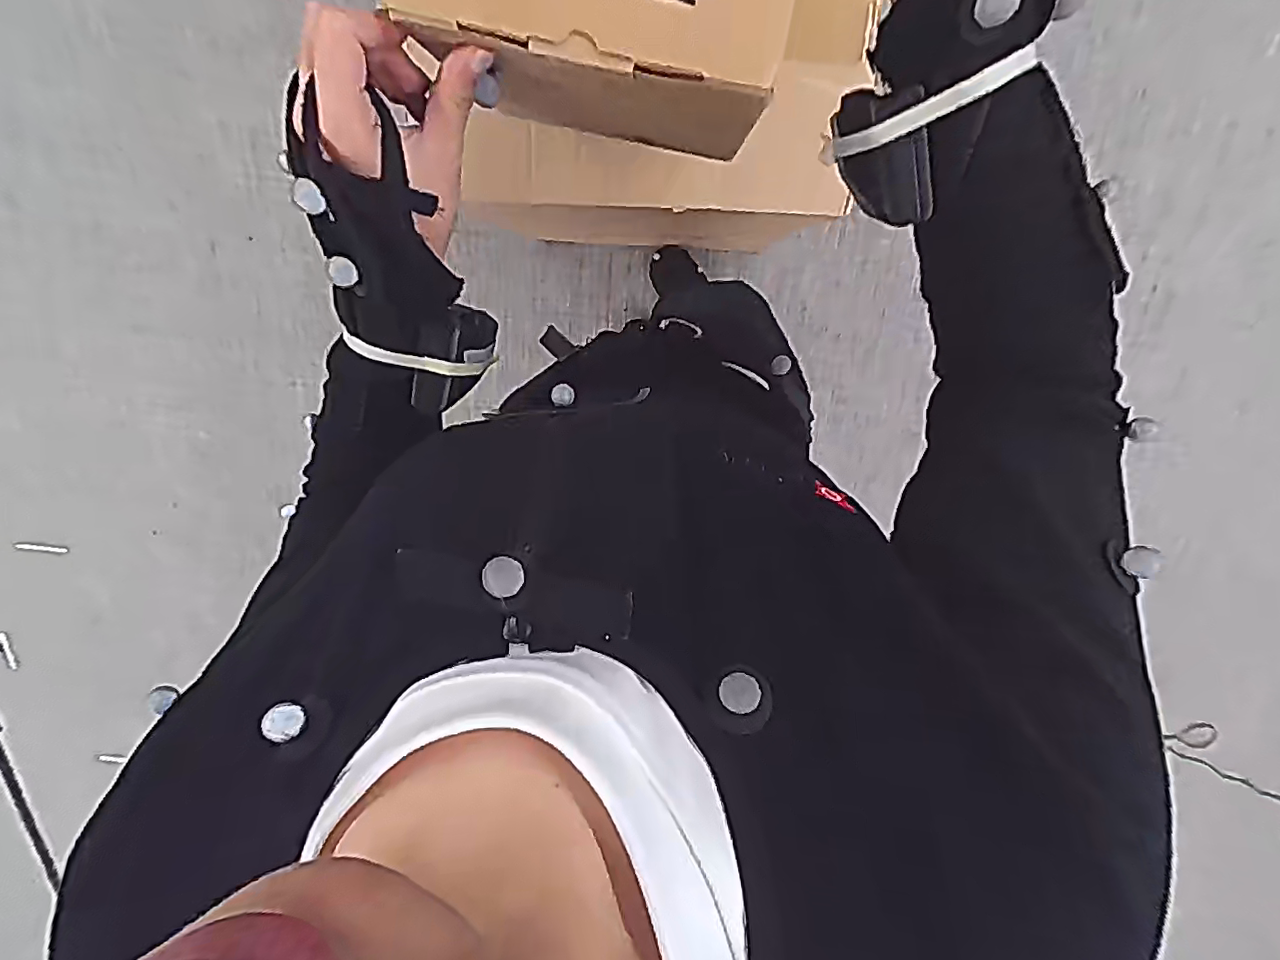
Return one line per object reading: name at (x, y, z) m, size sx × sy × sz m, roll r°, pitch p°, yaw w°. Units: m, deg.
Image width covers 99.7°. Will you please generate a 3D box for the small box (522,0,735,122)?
small box at (-0.004, -0.453, 0.503) m, size 0.179 × 0.176 × 0.168 m, roll 4°, pitch 110°, yaw 2°
